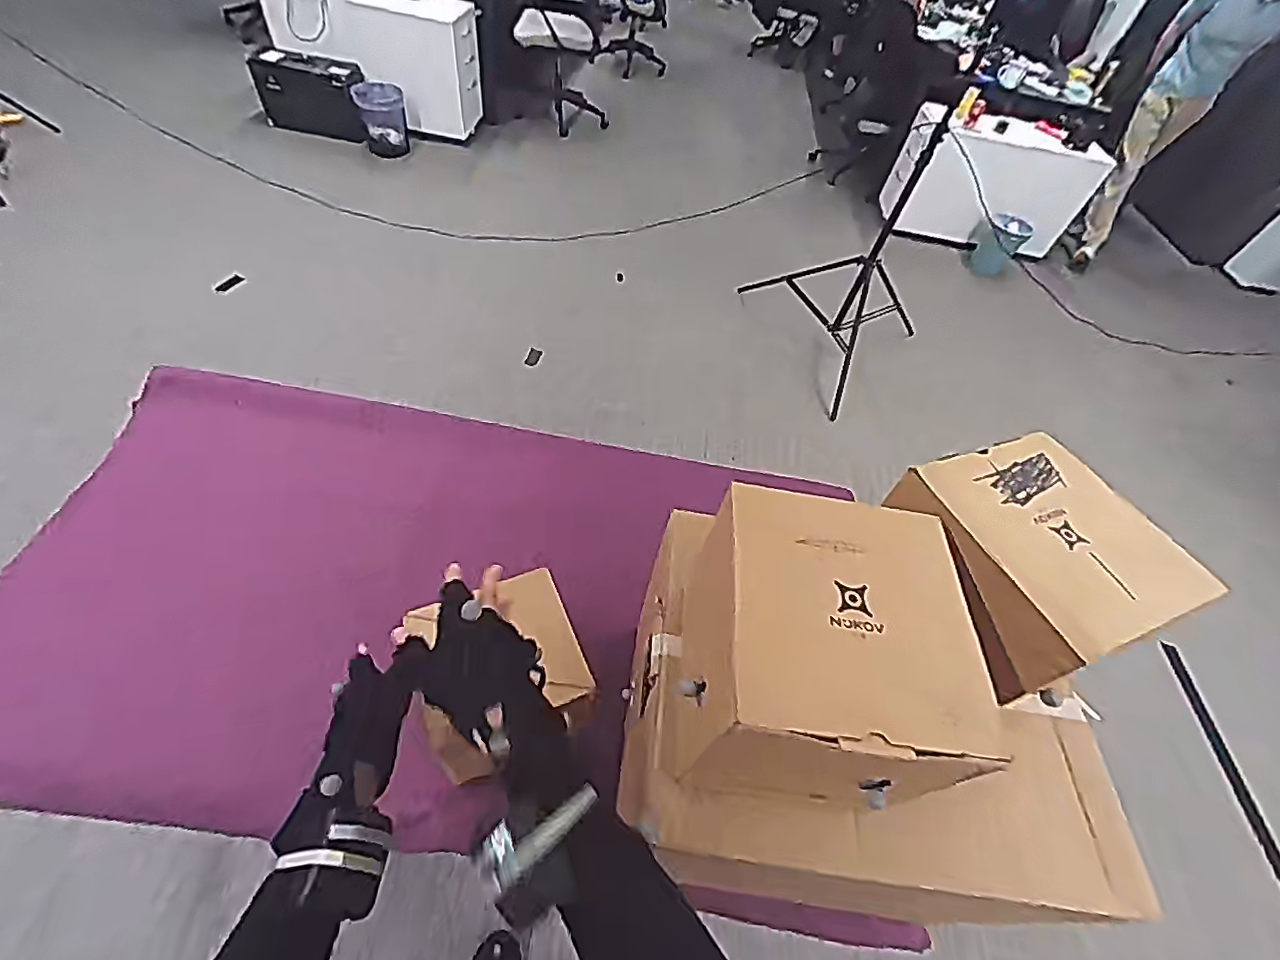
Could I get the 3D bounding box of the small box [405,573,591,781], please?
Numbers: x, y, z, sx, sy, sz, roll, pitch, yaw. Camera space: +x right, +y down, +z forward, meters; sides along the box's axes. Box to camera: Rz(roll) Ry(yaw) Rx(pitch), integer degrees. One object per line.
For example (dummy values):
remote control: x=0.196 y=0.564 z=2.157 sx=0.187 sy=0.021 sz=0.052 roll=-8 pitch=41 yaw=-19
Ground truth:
small box: x=-0.167 y=0.237 z=0.664 sx=0.179 sy=0.176 sz=0.168 roll=-16 pitch=56 yaw=-20

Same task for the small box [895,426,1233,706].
small box: x=0.316 y=0.082 z=0.475 sx=0.168 sy=0.176 sz=0.179 roll=-13 pitch=54 yaw=-19

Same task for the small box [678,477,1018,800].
small box: x=0.127 y=0.126 z=0.410 sx=0.168 sy=0.176 sz=0.179 roll=9 pitch=49 yaw=-4

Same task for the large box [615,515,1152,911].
large box: x=0.196 y=0.275 z=0.617 sx=0.408 sy=0.320 sz=0.320 roll=9 pitch=51 yaw=-2
